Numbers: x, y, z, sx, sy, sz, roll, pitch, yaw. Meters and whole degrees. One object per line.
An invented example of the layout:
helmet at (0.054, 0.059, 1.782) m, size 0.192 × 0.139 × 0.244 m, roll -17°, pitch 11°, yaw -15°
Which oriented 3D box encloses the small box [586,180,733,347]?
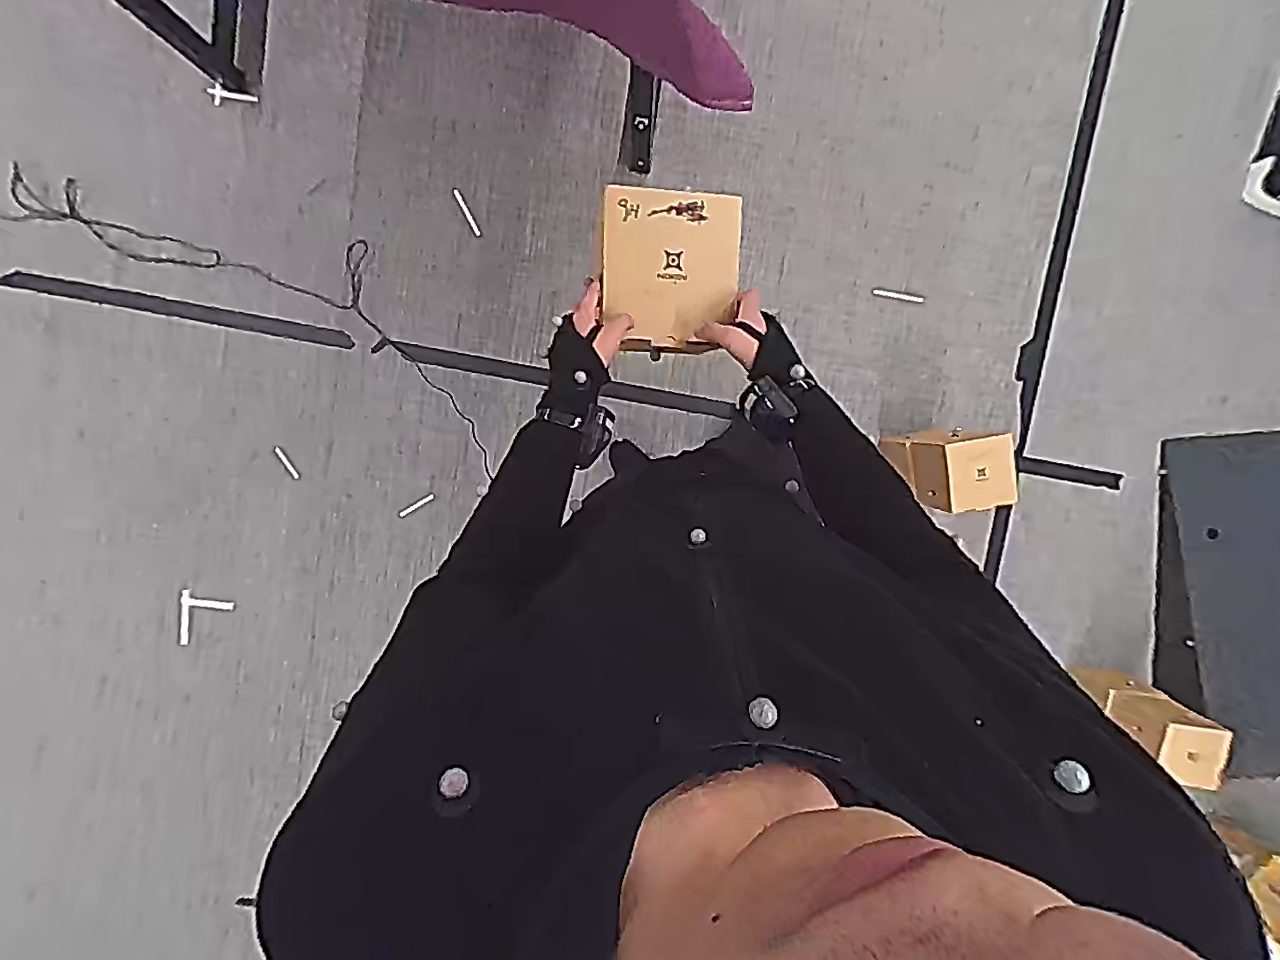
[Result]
small box at (0.016, -0.272, 0.721) m, size 0.168 × 0.176 × 0.179 m, roll 0°, pitch 100°, yaw -9°
